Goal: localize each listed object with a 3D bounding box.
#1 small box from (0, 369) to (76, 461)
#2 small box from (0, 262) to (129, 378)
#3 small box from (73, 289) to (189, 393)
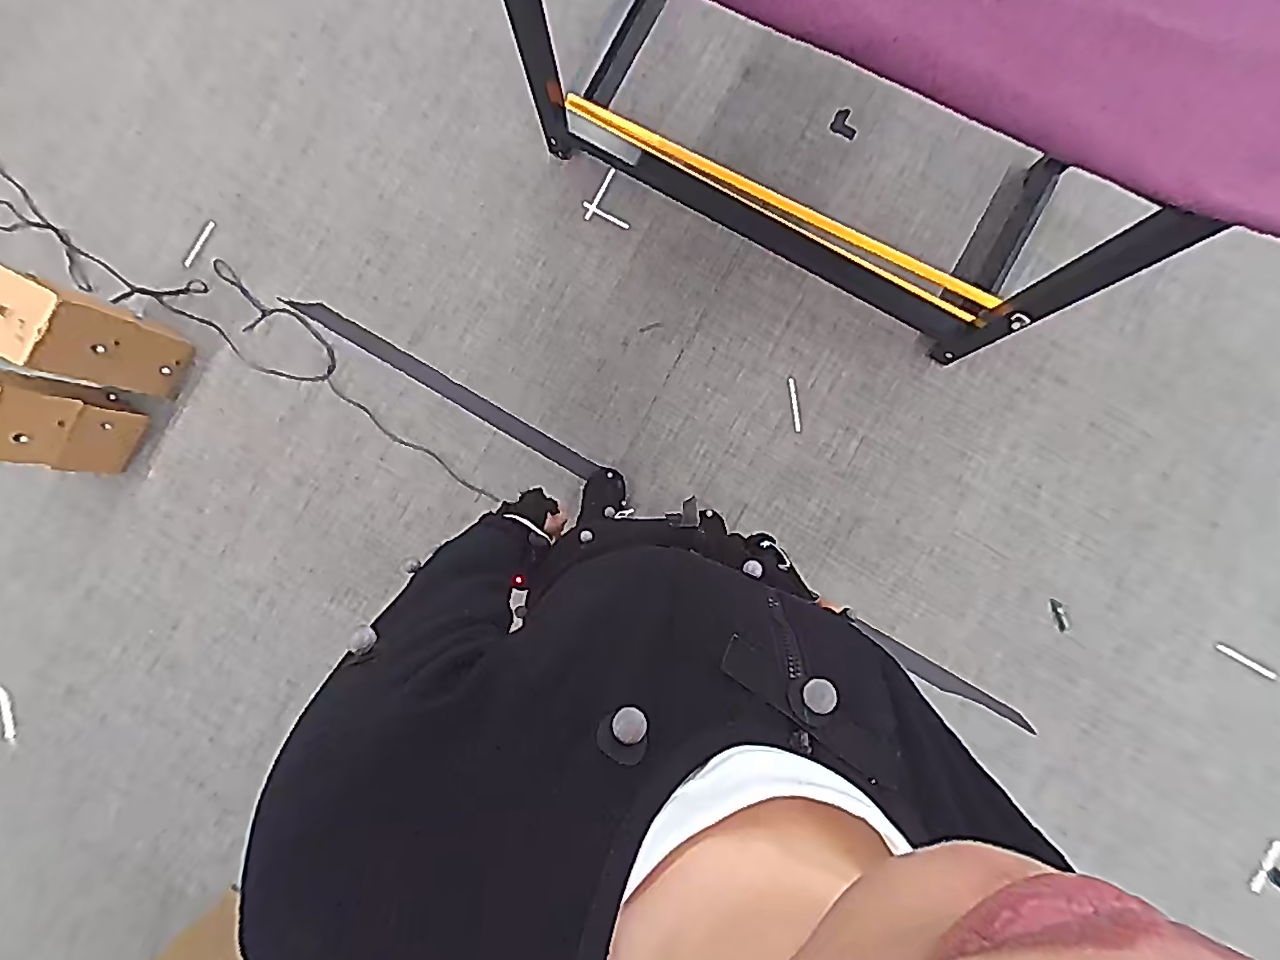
[{"bbox_3d":[-1.410,-0.148,1.174,0.179,0.176,0.168,24,89,3],"label":"small box"},{"bbox_3d":[-1.295,-0.340,1.176,0.179,0.176,0.168,28,89,1],"label":"small box"},{"bbox_3d":[-1.294,-0.334,1.341,0.179,0.176,0.168,29,89,1],"label":"small box"}]
